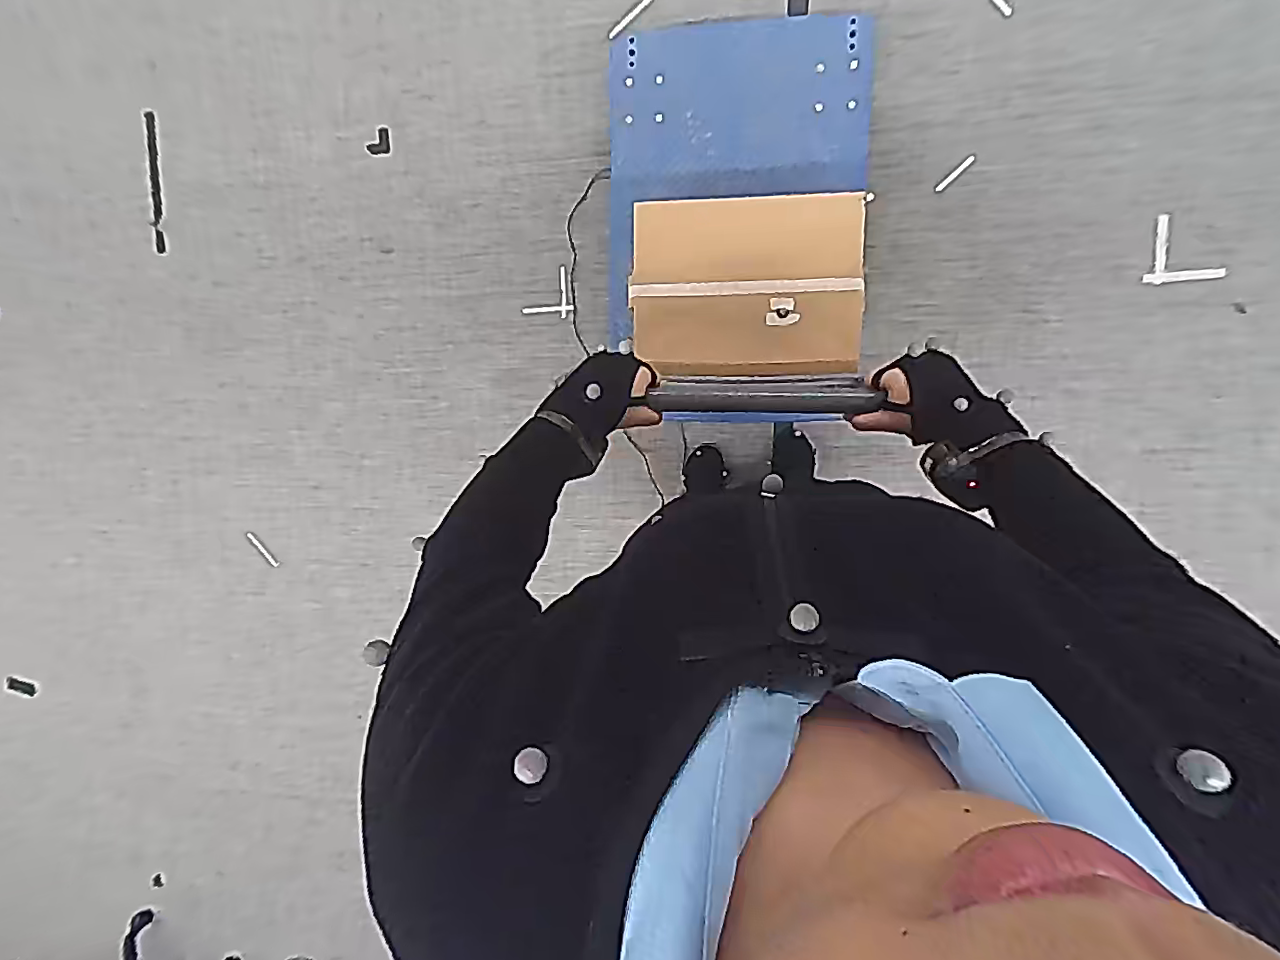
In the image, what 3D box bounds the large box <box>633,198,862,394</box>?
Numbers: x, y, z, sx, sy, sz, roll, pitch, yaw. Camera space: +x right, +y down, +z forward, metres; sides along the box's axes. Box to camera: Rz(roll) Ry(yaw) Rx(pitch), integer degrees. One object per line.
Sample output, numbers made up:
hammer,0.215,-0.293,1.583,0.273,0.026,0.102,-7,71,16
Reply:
large box,0.202,-0.345,1.111,0.408,0.320,0.320,1,96,7
